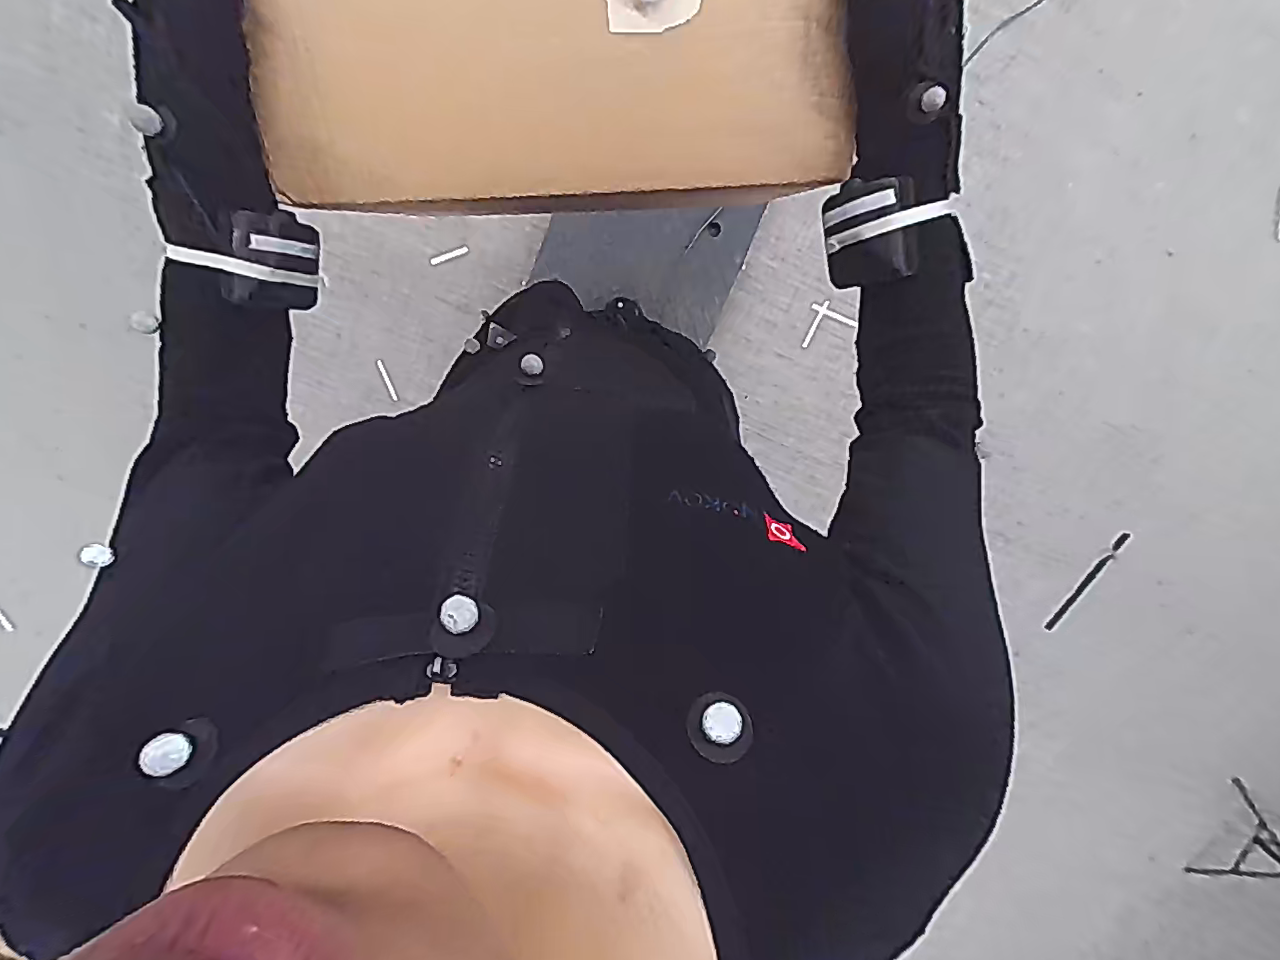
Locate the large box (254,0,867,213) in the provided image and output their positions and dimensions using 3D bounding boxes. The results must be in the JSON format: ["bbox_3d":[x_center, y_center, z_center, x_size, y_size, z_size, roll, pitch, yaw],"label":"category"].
[{"bbox_3d":[-0.055,-0.418,0.465,0.408,0.320,0.320,-2,115,0],"label":"large box"}]
